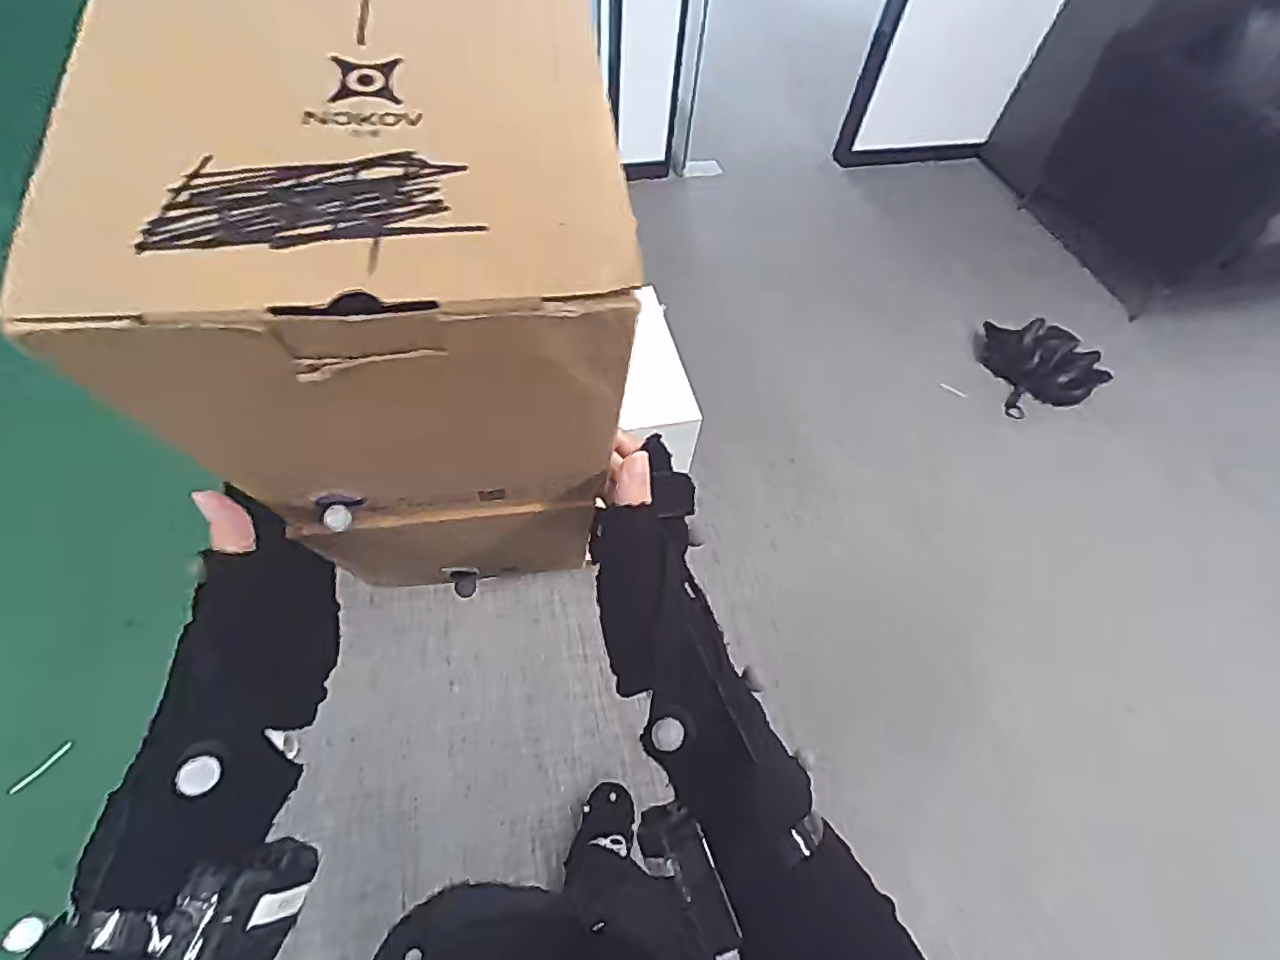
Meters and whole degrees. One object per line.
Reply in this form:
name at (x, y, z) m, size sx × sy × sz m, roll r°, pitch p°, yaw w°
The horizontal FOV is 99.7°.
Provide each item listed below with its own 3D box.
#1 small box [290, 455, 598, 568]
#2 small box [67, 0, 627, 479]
small box at (-0.127, -0.045, 0.401) m, size 0.168 × 0.176 × 0.179 m, roll -5°, pitch 69°, yaw -11°
small box at (-0.104, -0.106, 0.269) m, size 0.168 × 0.176 × 0.179 m, roll -5°, pitch 67°, yaw -11°
